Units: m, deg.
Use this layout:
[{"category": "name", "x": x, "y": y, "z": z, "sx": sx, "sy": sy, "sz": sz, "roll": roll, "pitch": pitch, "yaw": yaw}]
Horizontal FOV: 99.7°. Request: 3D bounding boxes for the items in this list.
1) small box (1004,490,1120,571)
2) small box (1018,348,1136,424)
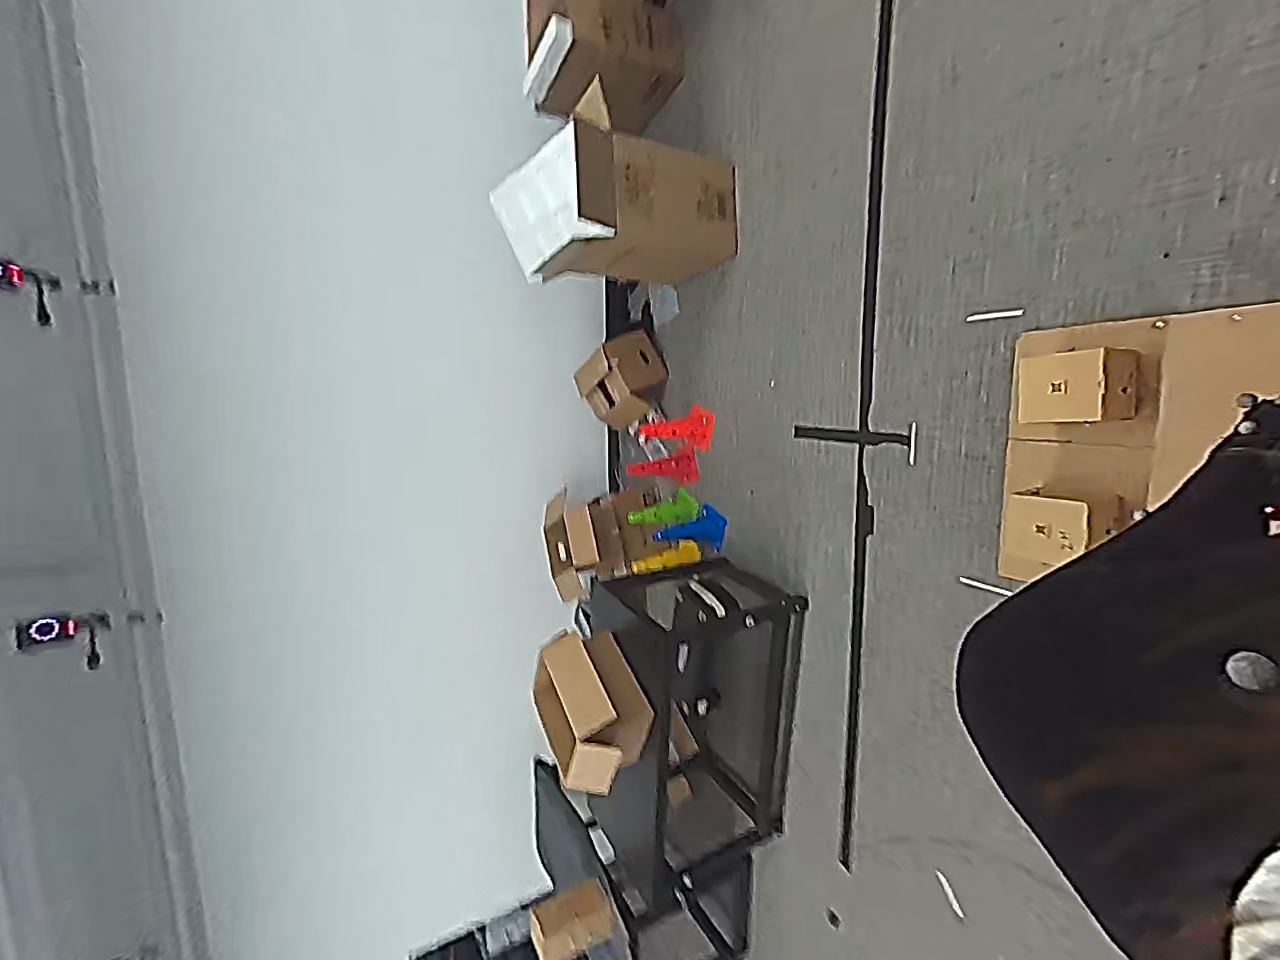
[{"category": "small box", "x": 1.058, "y": 0.119, "z": 1.360, "sx": 0.179, "sy": 0.176, "sz": 0.168, "roll": 11, "pitch": 105, "yaw": 59}, {"category": "small box", "x": 1.060, "y": -0.222, "z": 1.317, "sx": 0.179, "sy": 0.176, "sz": 0.168, "roll": 5, "pitch": 98, "yaw": 60}]
